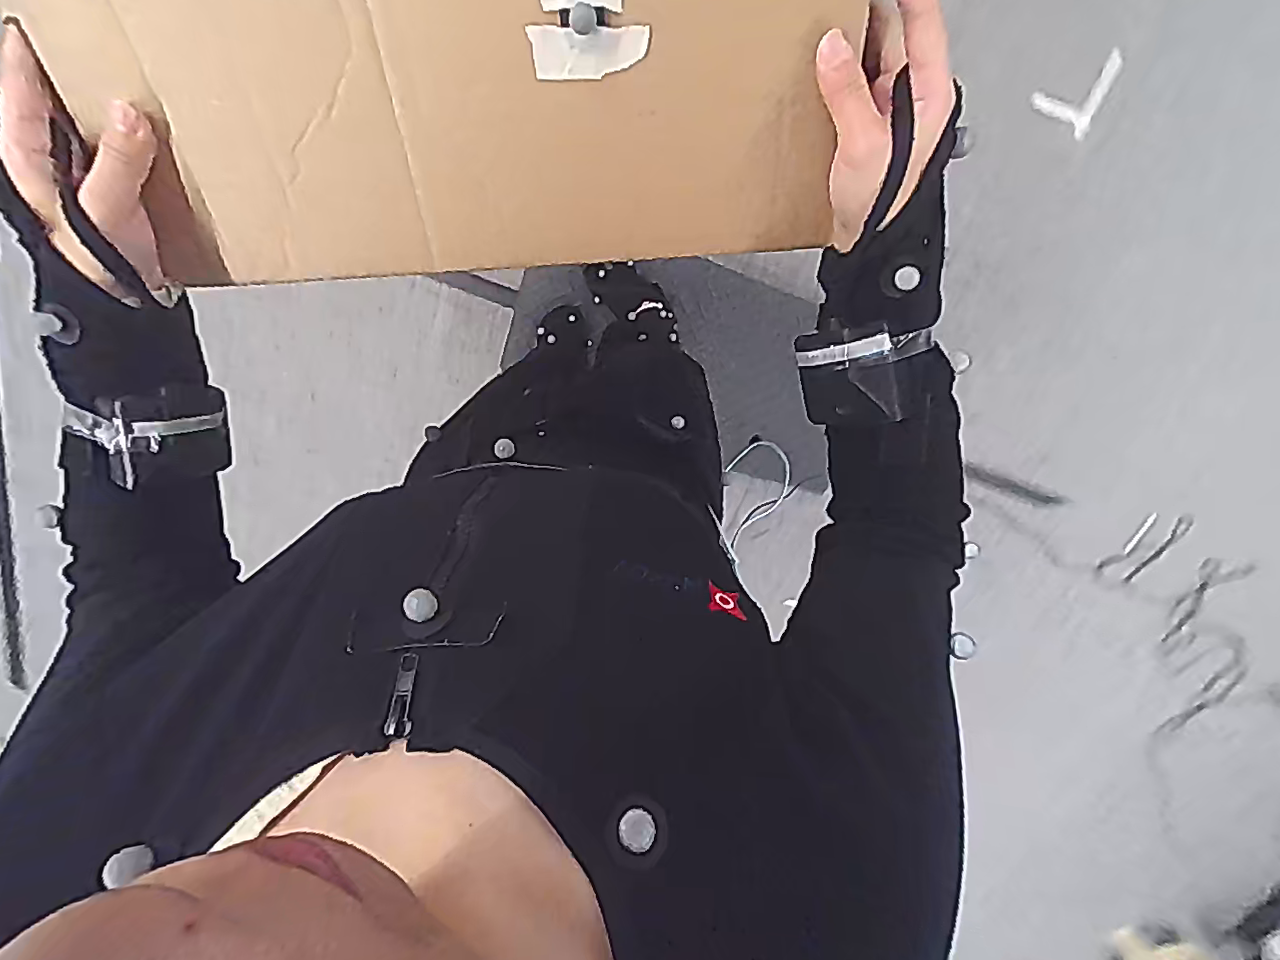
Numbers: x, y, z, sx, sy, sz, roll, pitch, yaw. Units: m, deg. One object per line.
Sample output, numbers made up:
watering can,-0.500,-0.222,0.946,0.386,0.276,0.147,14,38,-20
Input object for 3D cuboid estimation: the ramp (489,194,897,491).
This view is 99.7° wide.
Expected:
ramp,0.167,-0.289,1.384,0.991,0.206,0.509,16,110,-9
